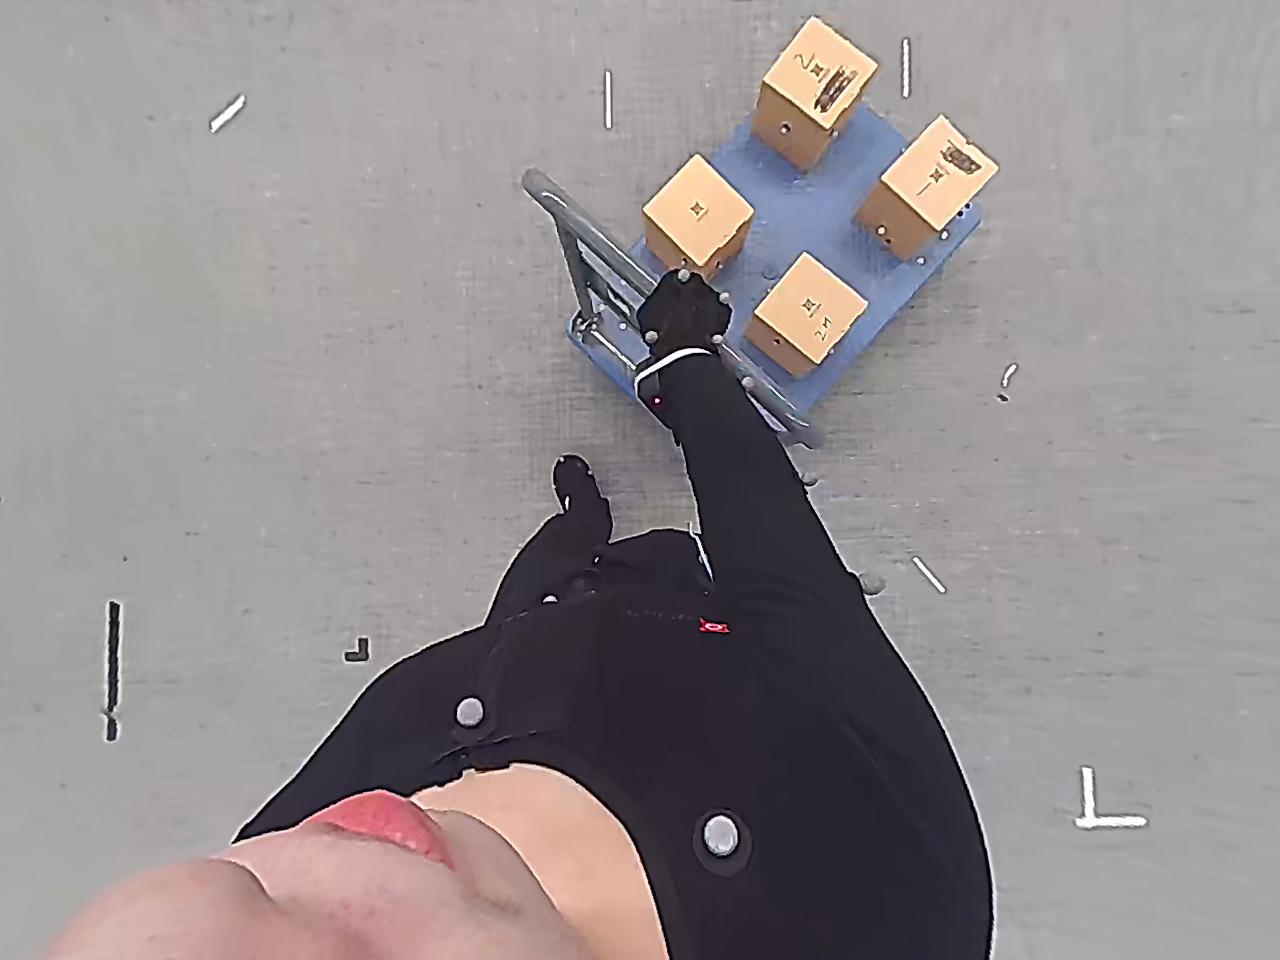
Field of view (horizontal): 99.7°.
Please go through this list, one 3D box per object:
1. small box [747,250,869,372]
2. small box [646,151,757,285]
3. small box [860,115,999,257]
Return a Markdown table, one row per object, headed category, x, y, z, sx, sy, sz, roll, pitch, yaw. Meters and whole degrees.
| category | x | y | z | sx | sy | sz | roll | pitch | yaw |
| --- | --- | --- | --- | --- | --- | --- | --- | --- | --- |
| small box | 0.358 | -0.361 | 1.195 | 0.179 | 0.176 | 0.168 | 41 | 92 | 1 |
| small box | 0.128 | -0.569 | 1.203 | 0.179 | 0.176 | 0.168 | 45 | 92 | 0 |
| small box | 0.618 | -0.630 | 1.181 | 0.168 | 0.176 | 0.179 | 44 | 93 | 1 |
